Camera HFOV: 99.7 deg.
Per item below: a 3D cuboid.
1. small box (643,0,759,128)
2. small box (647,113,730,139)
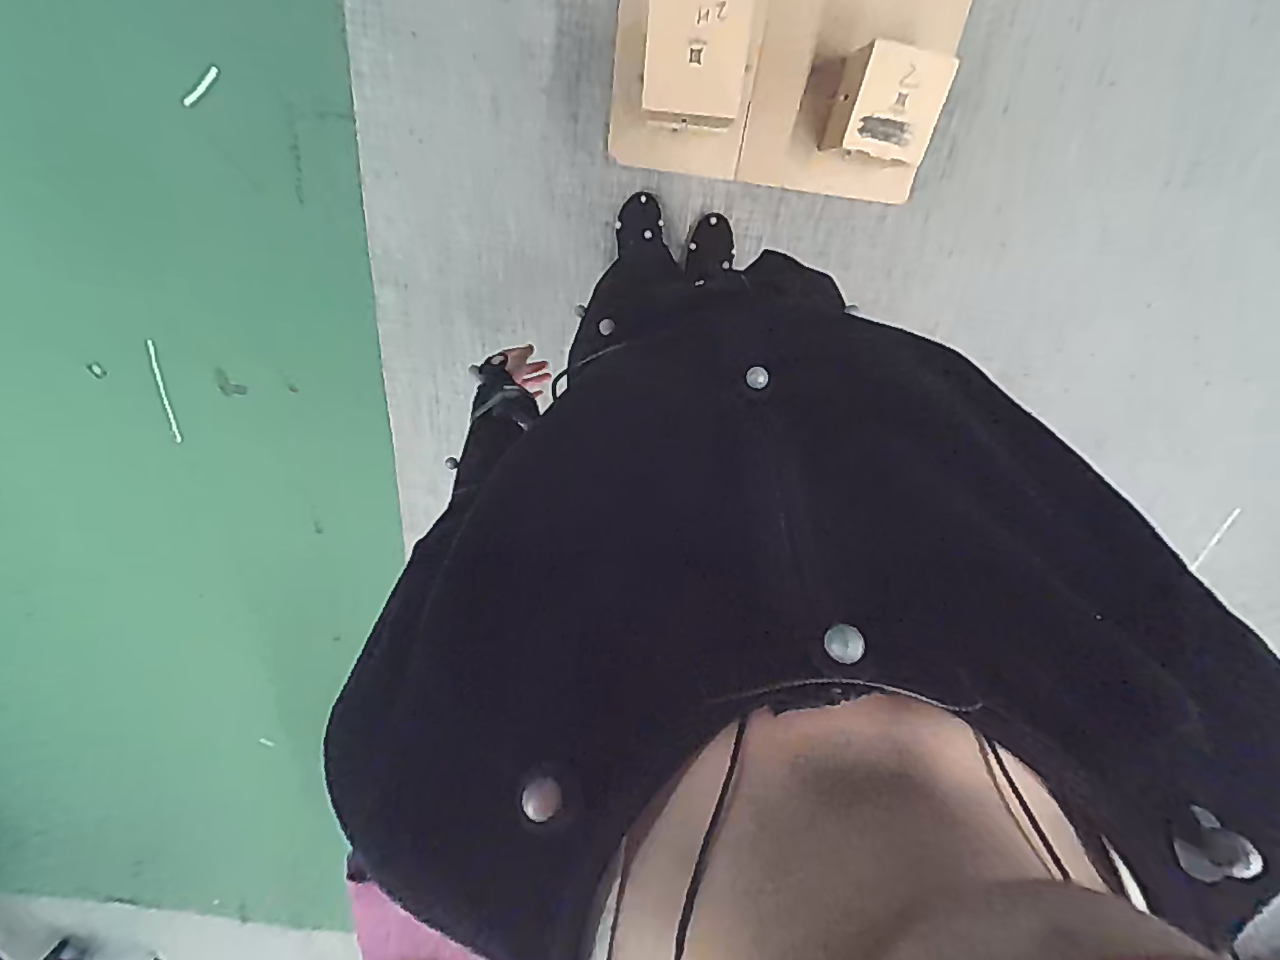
[{"bbox_3d":[0.098,-0.723,0.933,0.168,0.176,0.179,6,118,-1],"label":"small box"},{"bbox_3d":[0.106,-0.796,1.081,0.168,0.176,0.179,6,118,-1],"label":"small box"}]
